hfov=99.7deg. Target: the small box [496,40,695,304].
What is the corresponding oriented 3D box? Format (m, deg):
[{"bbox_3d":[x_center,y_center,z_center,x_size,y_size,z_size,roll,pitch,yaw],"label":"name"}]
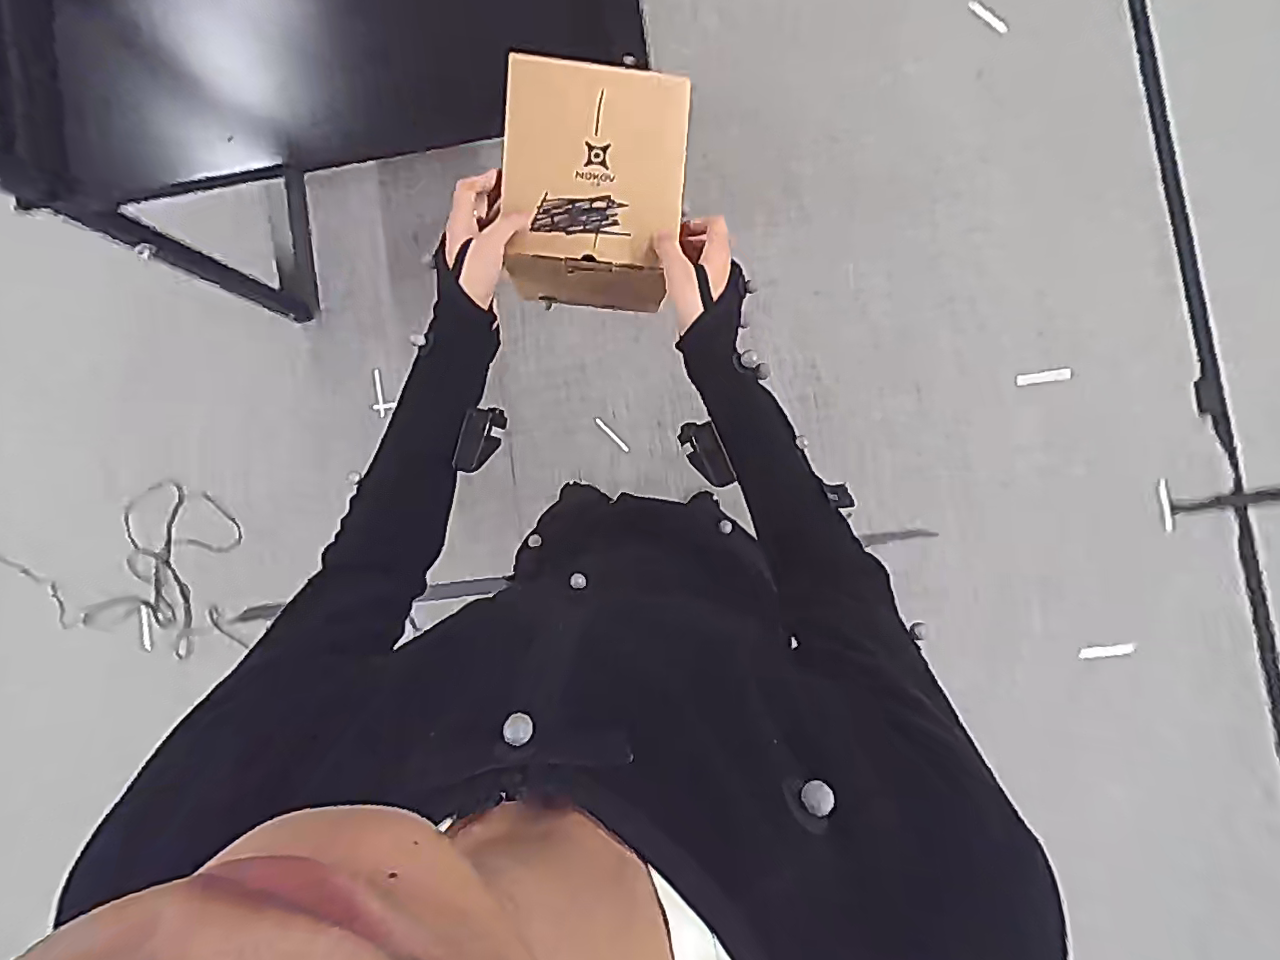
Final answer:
[{"bbox_3d":[-0.044,-0.296,0.561,0.168,0.176,0.179,5,92,-5],"label":"small box"}]
